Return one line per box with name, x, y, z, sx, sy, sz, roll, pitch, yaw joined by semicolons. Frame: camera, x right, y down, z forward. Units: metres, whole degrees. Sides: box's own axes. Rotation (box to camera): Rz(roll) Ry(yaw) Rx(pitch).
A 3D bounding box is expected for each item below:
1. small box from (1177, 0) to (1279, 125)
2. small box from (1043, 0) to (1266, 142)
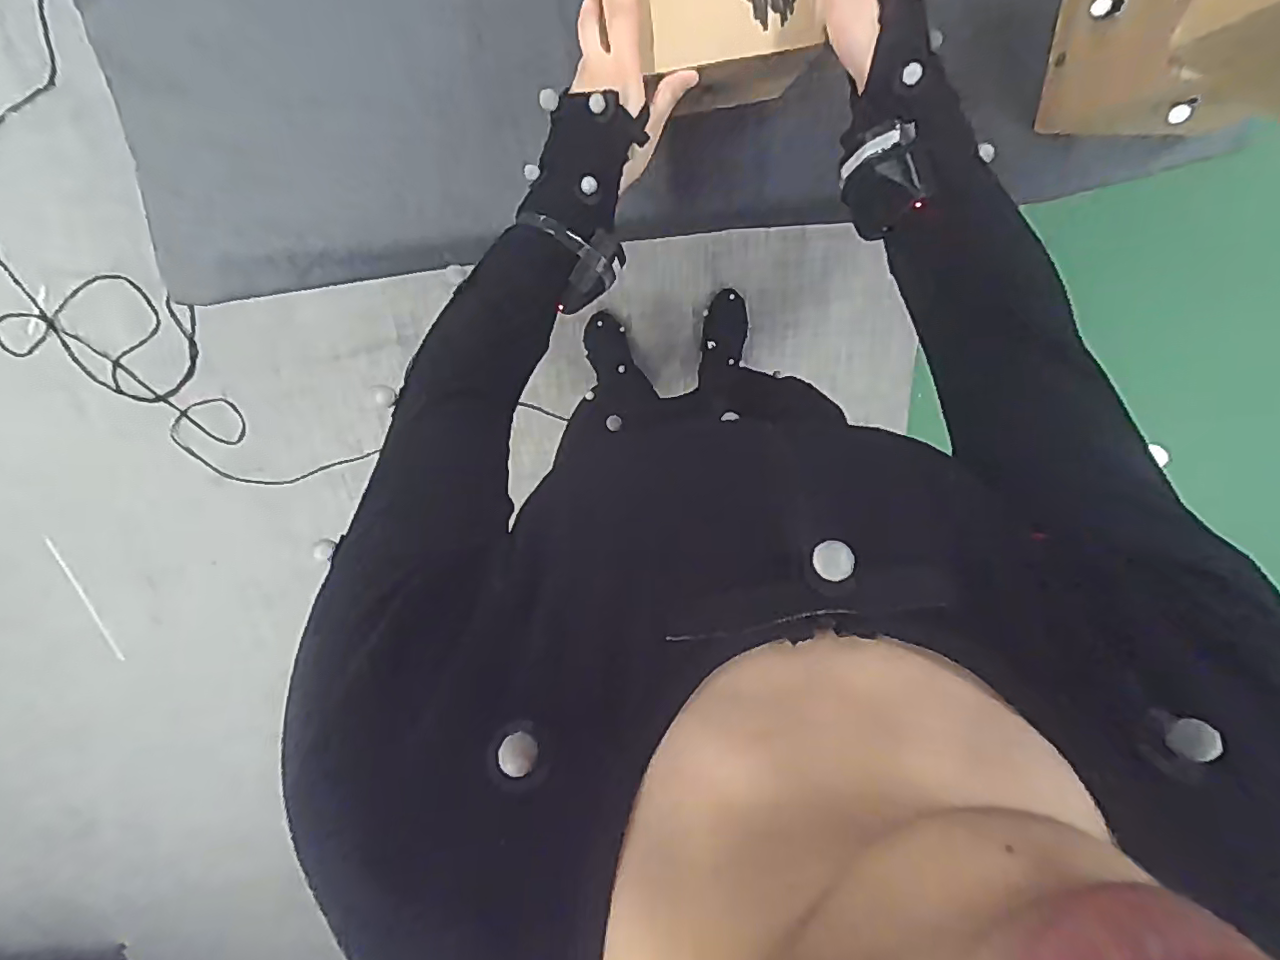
small box;0.520;-0.346;0.337;0.179;0.176;0.168;20;108;-8
small box;0.516;-0.417;0.485;0.179;0.176;0.168;0;110;0
